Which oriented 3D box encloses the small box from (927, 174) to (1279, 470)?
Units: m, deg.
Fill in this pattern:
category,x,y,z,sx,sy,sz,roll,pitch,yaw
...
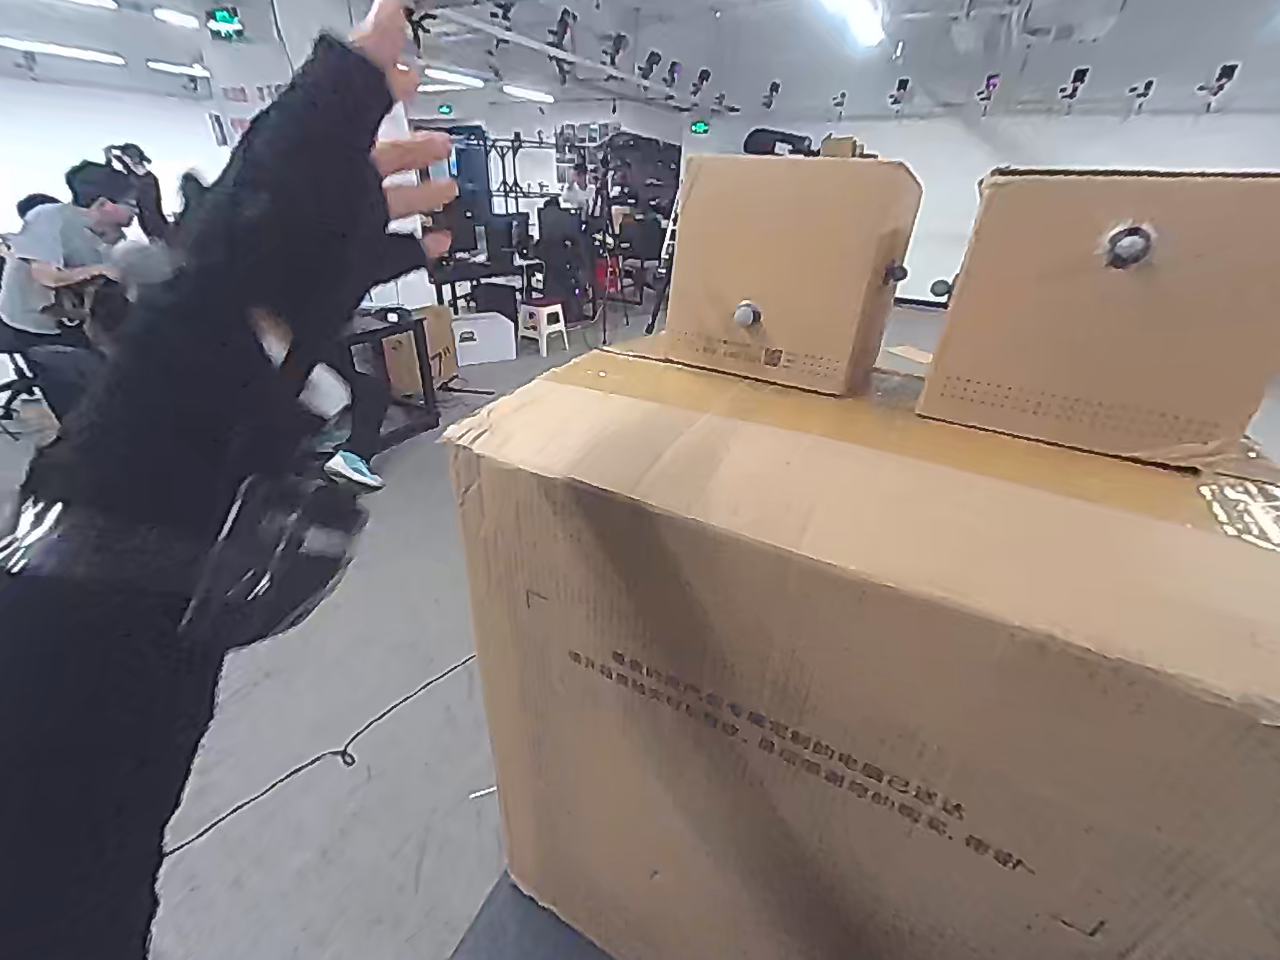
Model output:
category,x,y,z,sx,sy,sz,roll,pitch,yaw
small box,0.336,-0.122,0.407,0.179,0.176,0.168,18,29,24
